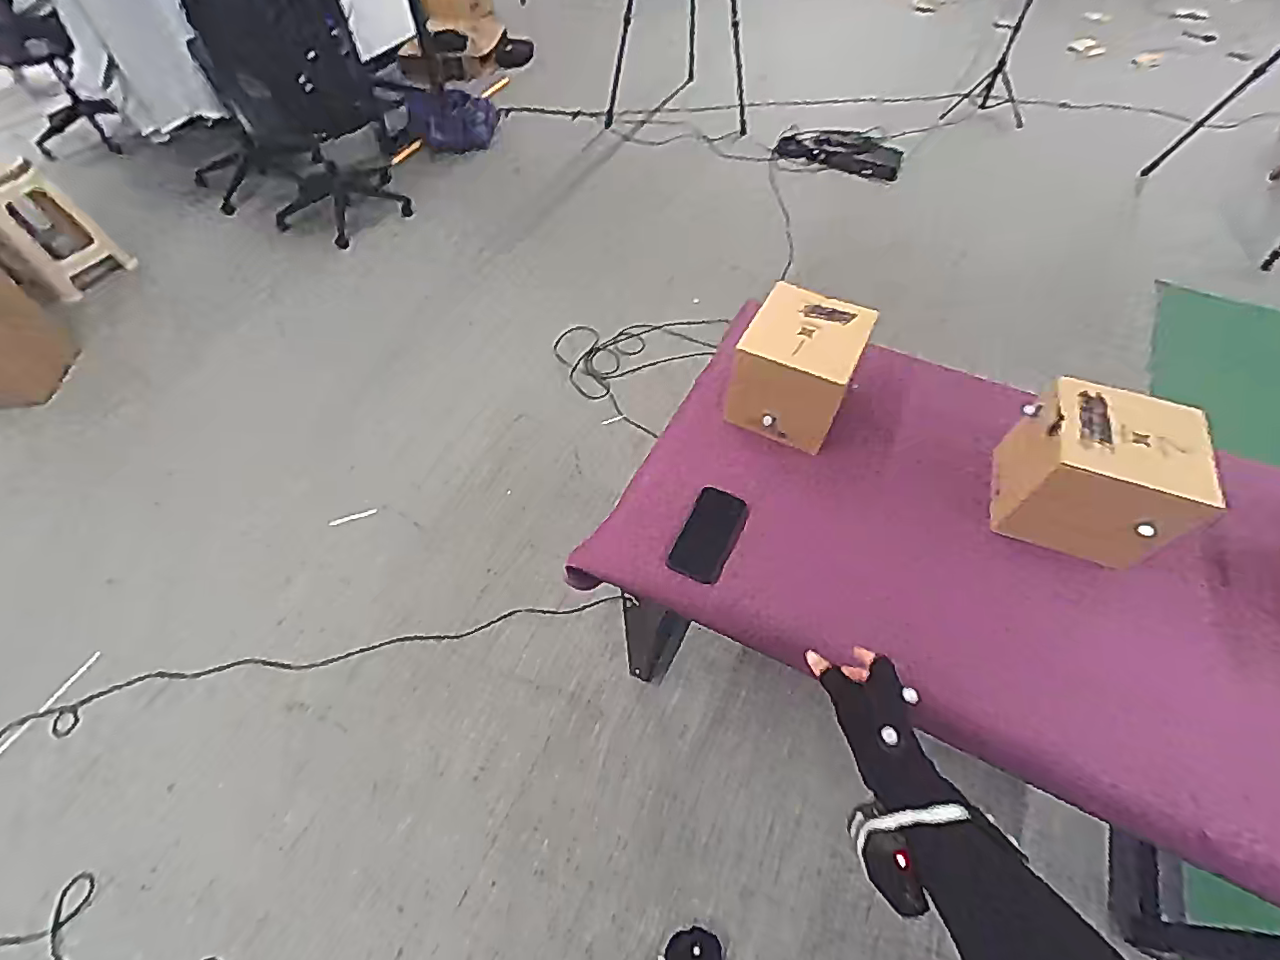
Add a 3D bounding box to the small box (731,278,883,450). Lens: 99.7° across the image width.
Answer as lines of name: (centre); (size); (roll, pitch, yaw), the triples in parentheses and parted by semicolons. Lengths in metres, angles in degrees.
small box: (0.257, -0.182, 0.865); (0.168, 0.176, 0.179); (25, 61, 17)
